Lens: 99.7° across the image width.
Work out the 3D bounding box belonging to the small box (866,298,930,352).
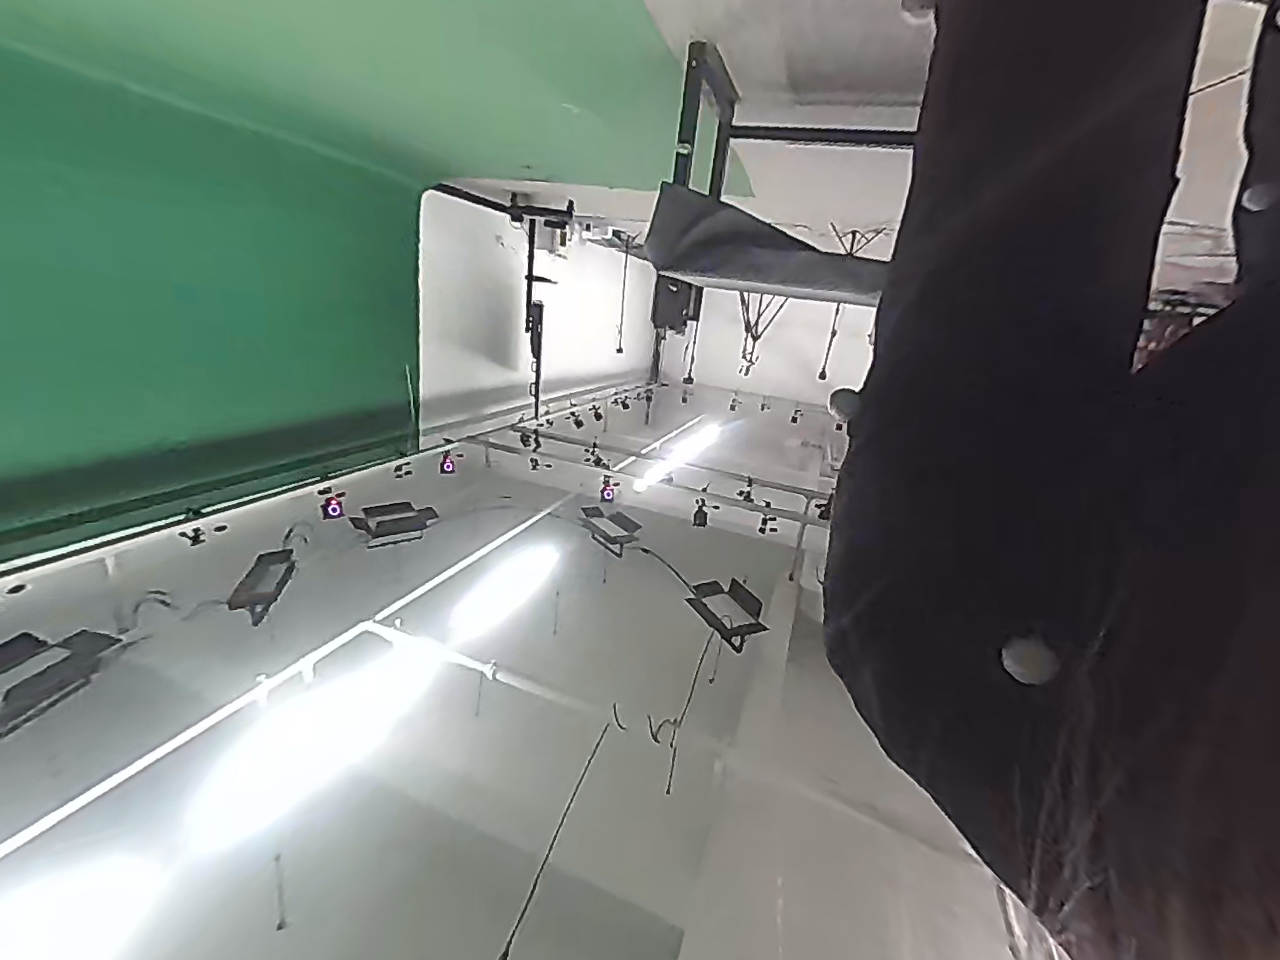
[{"bbox_3d":[0.930,-0.562,1.955,0.168,0.176,0.179,12,-161,14],"label":"small box"}]
